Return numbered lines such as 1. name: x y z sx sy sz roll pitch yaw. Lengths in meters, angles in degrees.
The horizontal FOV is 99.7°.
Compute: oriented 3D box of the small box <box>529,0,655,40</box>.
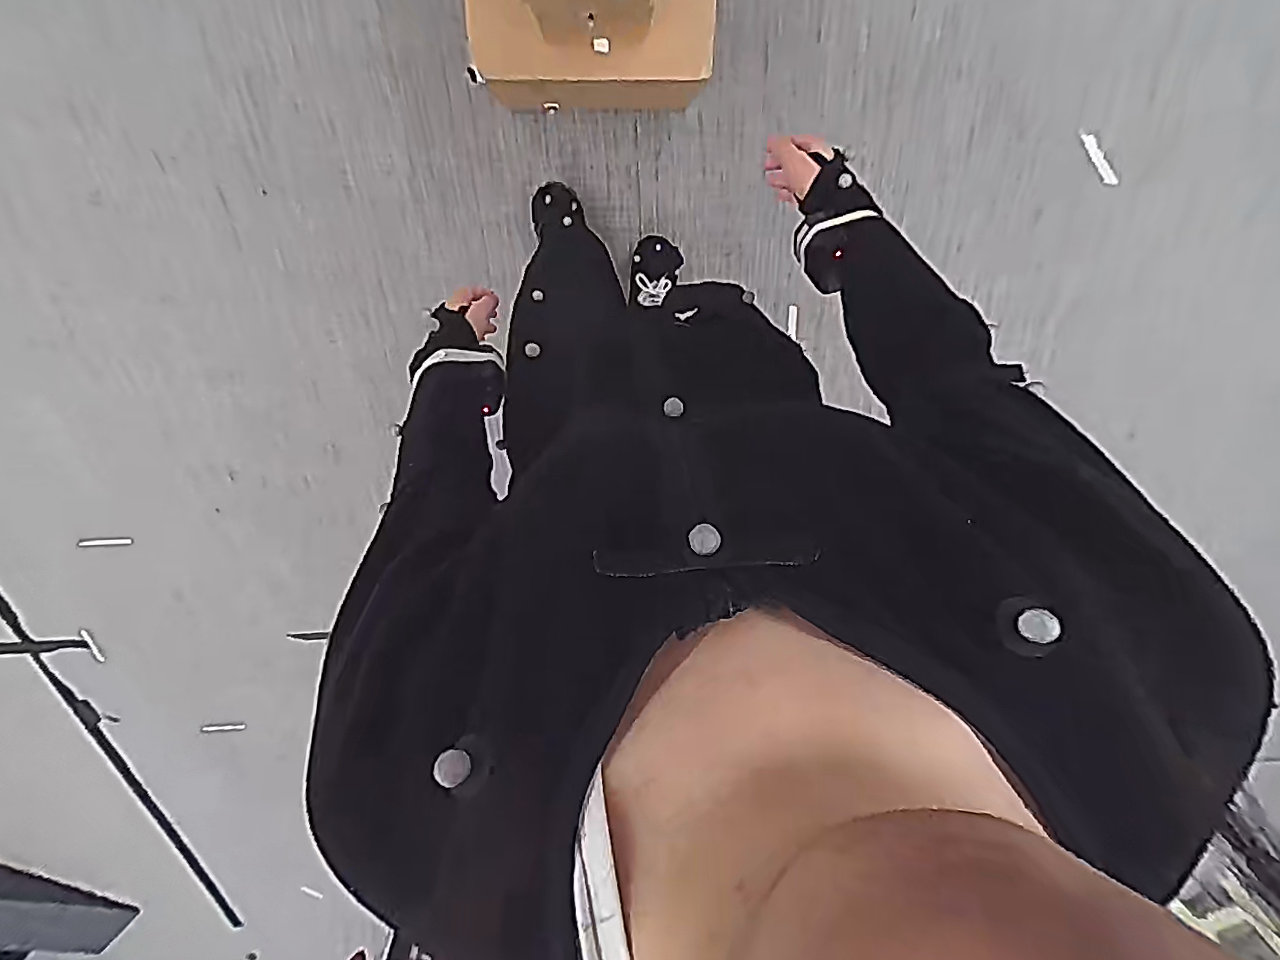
1. small box: -0.071 -0.759 0.779 0.179 0.176 0.168 -4 118 -1
